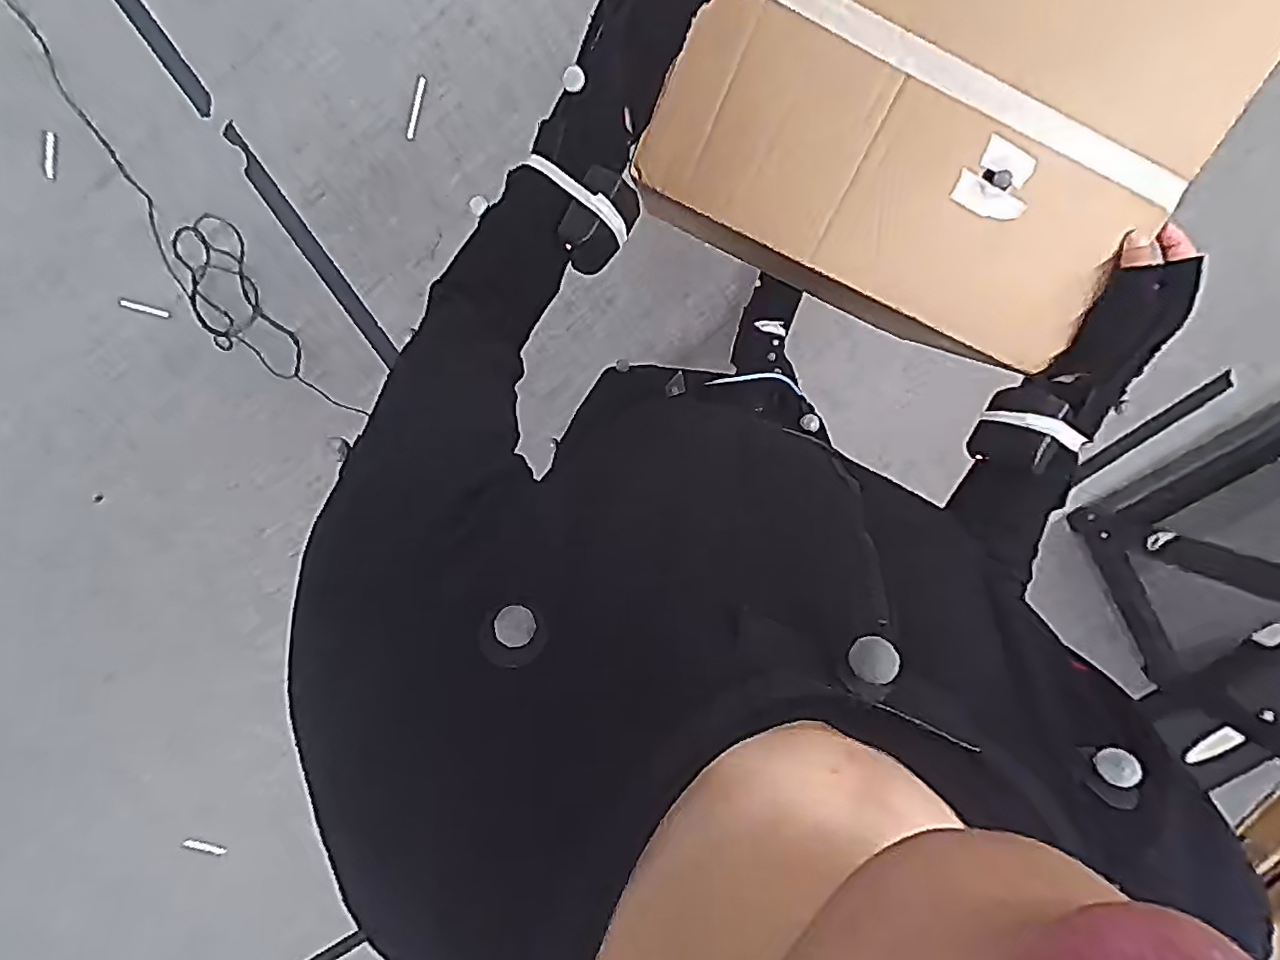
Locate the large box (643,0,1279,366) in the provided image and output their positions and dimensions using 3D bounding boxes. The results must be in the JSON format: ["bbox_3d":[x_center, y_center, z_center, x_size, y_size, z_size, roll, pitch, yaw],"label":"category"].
[{"bbox_3d":[0.244,-0.360,0.557,0.408,0.320,0.320,23,112,-7],"label":"large box"}]
